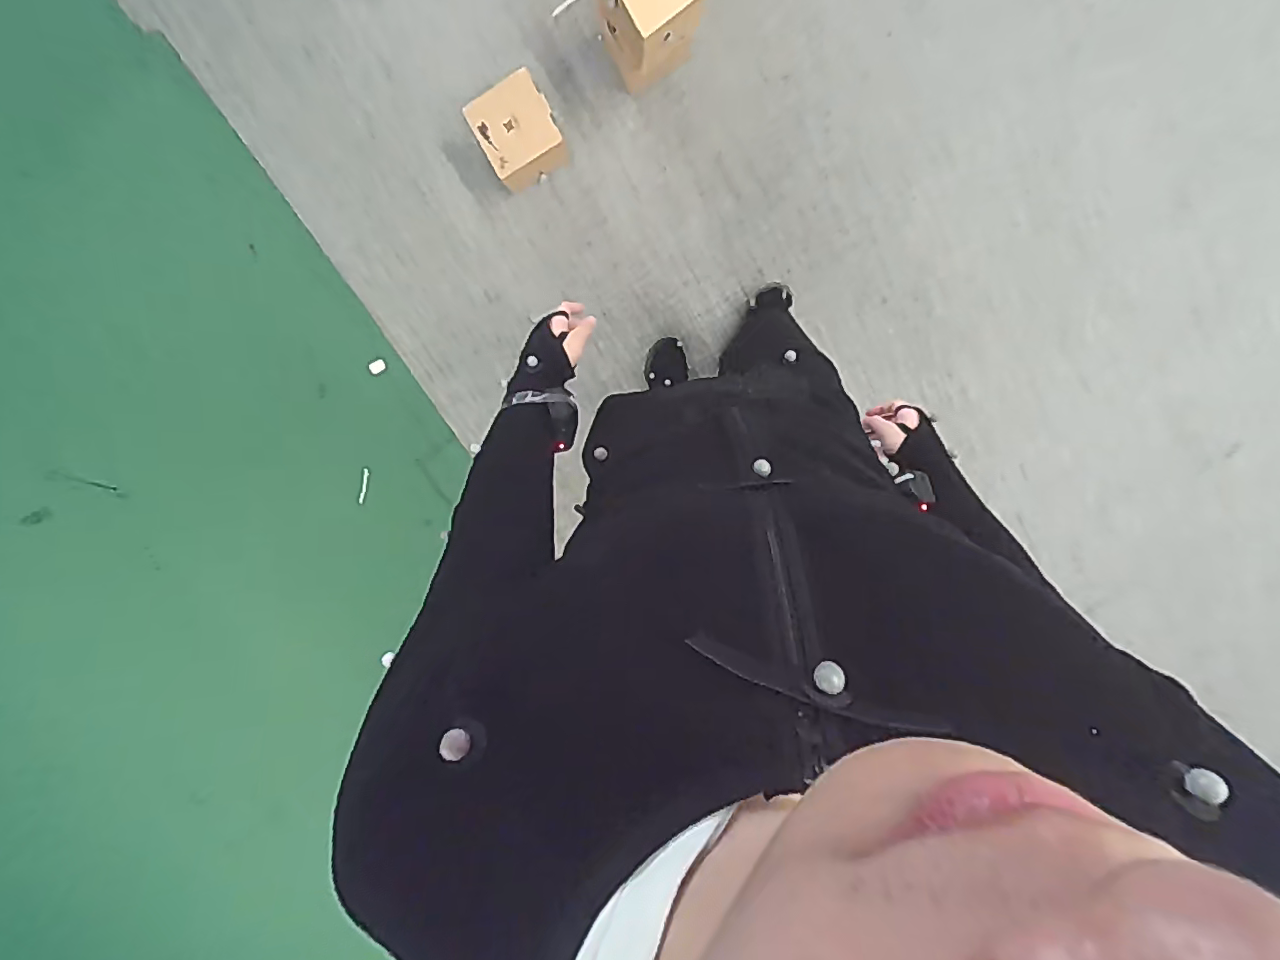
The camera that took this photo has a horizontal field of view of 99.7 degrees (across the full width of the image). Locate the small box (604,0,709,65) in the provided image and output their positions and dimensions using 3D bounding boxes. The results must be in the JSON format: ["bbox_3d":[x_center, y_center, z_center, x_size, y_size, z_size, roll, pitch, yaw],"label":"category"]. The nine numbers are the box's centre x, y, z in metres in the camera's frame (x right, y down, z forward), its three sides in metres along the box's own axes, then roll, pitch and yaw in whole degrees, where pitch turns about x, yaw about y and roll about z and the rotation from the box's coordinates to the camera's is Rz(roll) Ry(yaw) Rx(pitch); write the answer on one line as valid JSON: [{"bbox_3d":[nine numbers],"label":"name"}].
[{"bbox_3d":[0.030,-0.979,1.079,0.168,0.176,0.179,-33,104,10],"label":"small box"}]

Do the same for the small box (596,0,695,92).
[{"bbox_3d":[0.018,-1.037,1.231,0.179,0.176,0.168,-29,105,8],"label":"small box"}]

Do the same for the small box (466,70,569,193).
[{"bbox_3d":[-0.282,-0.825,1.300,0.179,0.176,0.168,-28,105,8],"label":"small box"}]
